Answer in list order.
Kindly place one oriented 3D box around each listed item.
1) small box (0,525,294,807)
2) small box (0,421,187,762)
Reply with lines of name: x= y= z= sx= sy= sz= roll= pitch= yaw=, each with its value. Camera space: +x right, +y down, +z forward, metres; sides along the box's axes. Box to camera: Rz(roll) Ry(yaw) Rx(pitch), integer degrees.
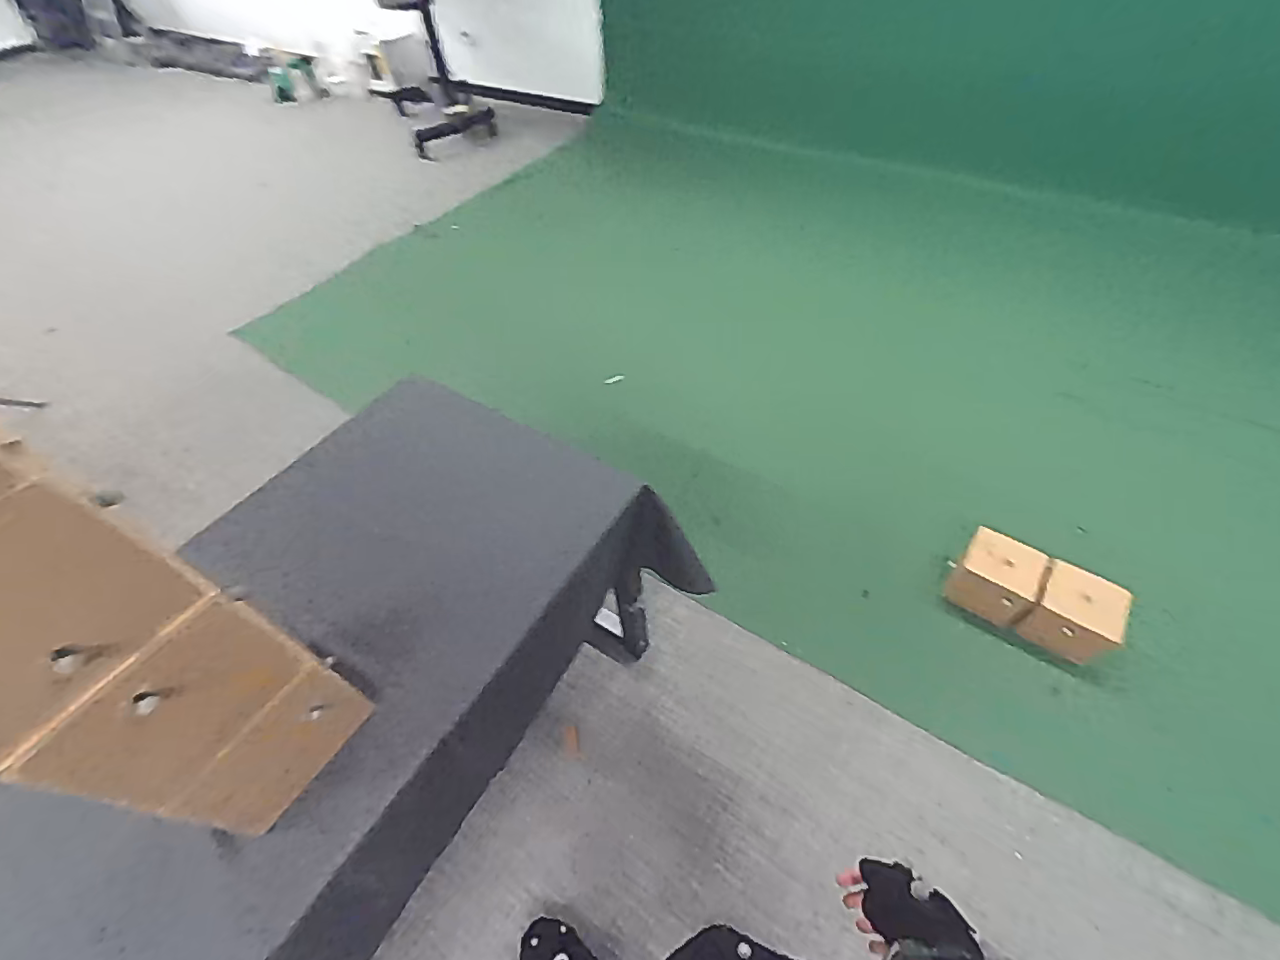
small box: x=-0.487 y=0.183 z=0.534 sx=0.168 sy=0.176 sz=0.179 roll=24 pitch=56 yaw=21
small box: x=-0.501 y=0.079 z=0.409 sx=0.168 sy=0.176 sz=0.179 roll=26 pitch=56 yaw=23
